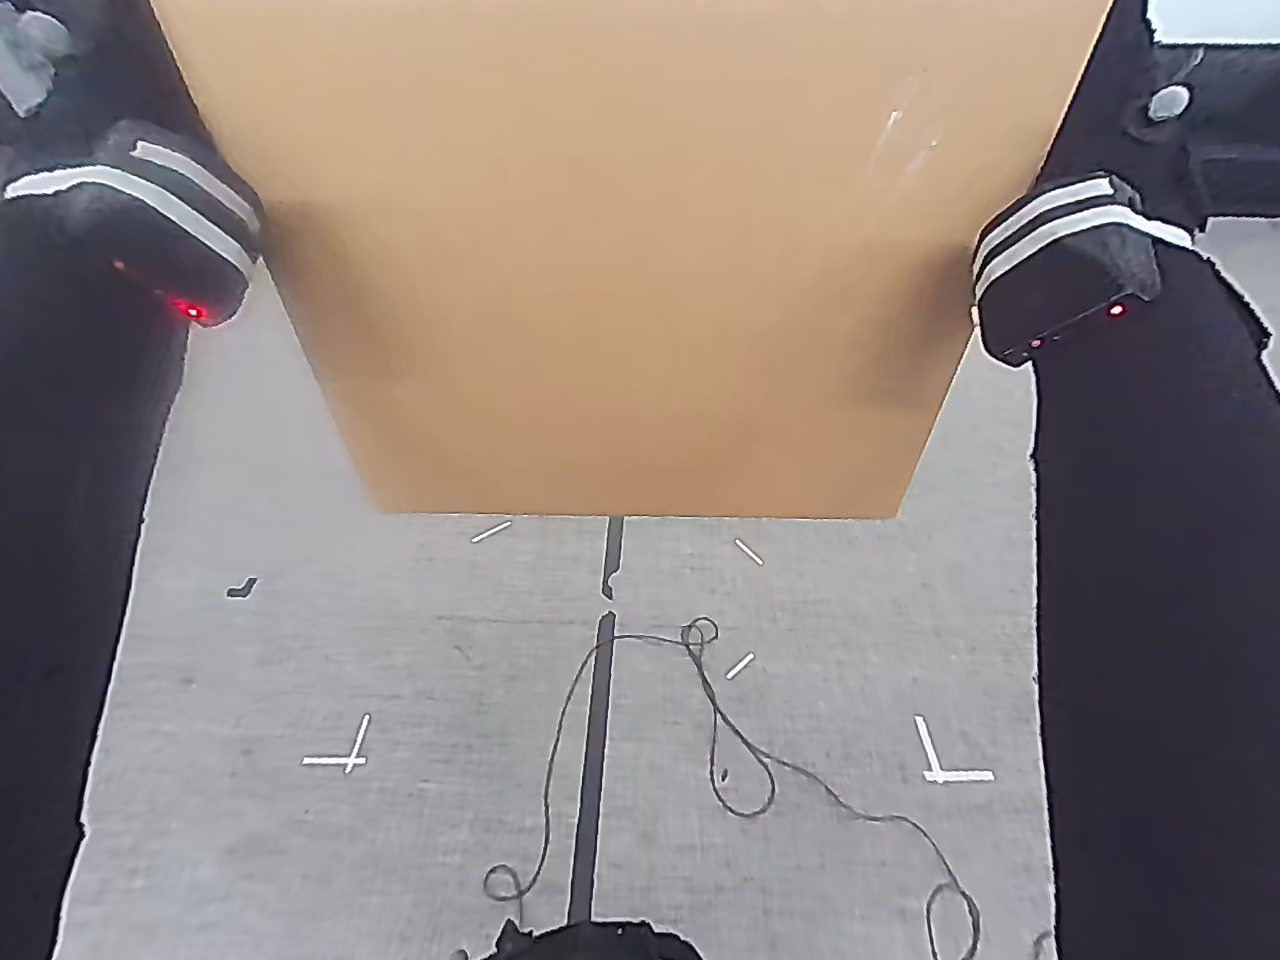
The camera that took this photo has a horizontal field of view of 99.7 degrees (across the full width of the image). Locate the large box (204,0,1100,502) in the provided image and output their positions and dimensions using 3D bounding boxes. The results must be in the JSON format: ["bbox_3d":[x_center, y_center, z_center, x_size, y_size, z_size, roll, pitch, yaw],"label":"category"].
[{"bbox_3d":[0.001,-0.193,0.438,0.408,0.320,0.320,1,41,0],"label":"large box"}]
